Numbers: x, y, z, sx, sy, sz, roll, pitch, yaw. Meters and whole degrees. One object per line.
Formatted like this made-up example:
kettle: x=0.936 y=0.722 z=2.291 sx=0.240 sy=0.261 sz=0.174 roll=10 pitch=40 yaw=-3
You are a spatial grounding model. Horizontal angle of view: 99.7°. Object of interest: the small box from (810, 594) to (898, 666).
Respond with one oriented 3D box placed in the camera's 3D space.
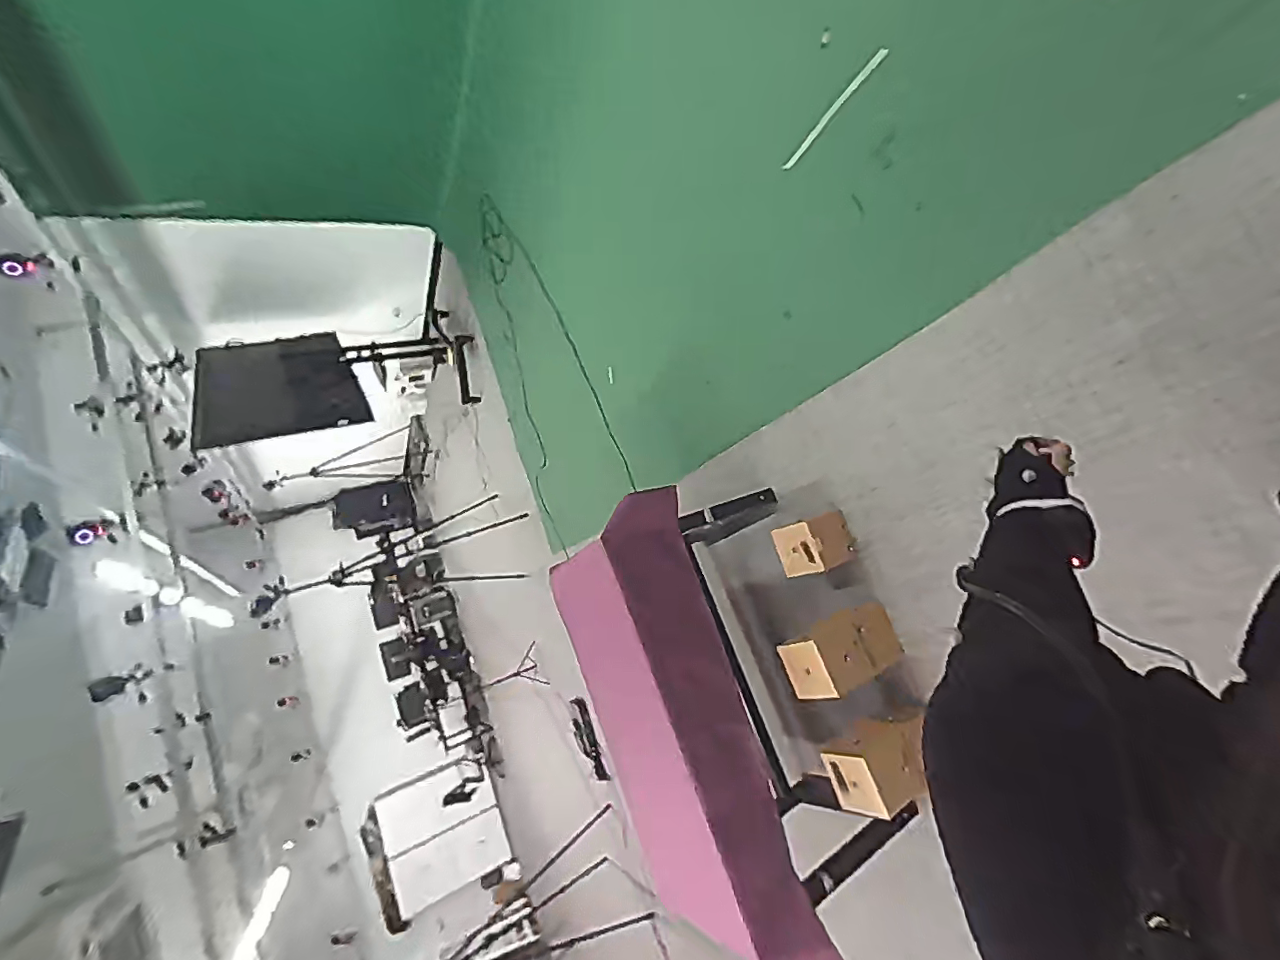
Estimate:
small box: x=0.692 y=0.485 z=1.745 sx=0.168 sy=0.176 sz=0.179 roll=-38 pitch=70 yaw=58
